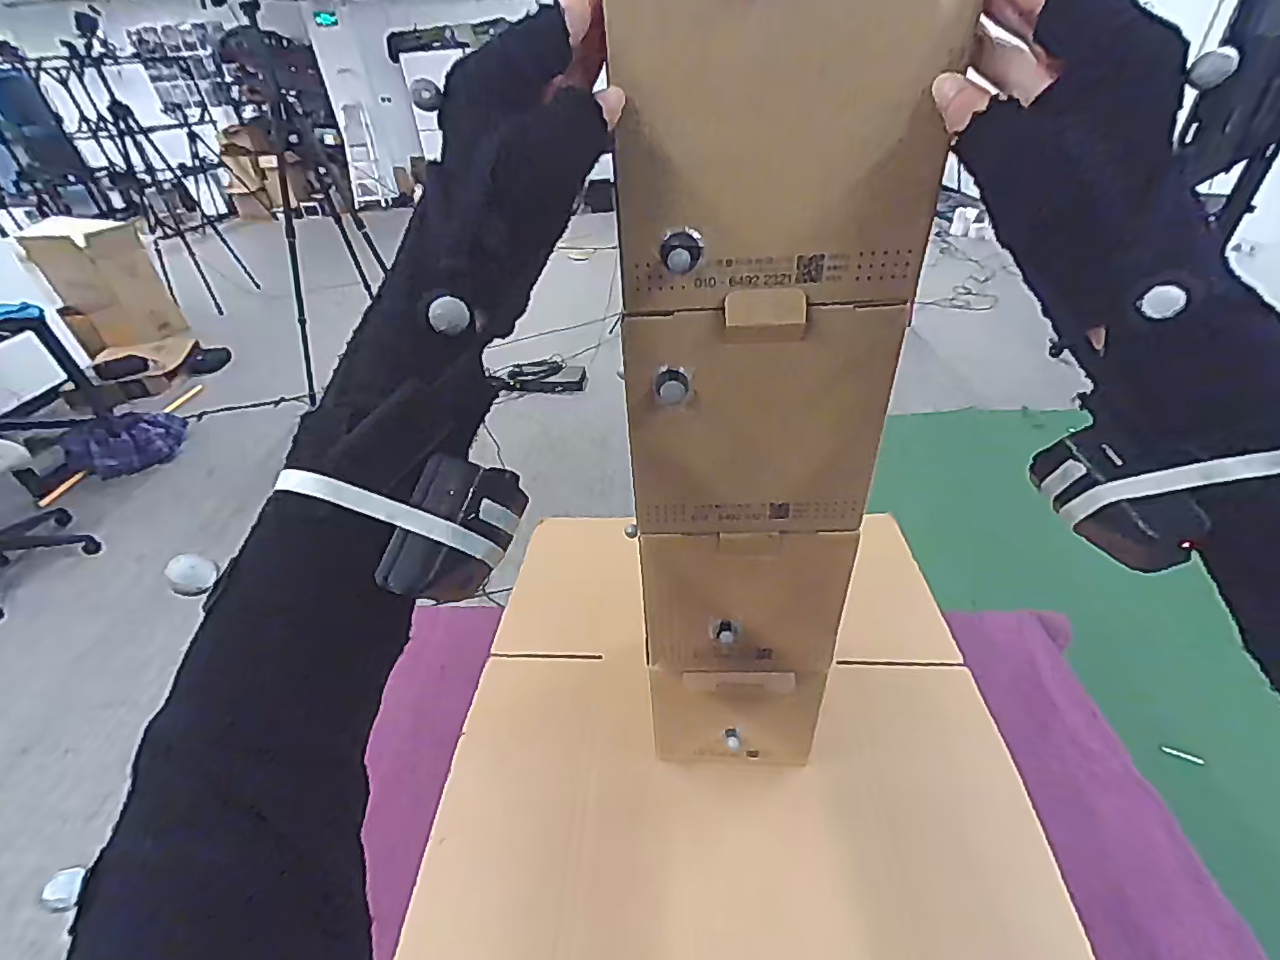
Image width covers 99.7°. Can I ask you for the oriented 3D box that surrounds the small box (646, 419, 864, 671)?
[{"bbox_3d":[0.091,0.055,0.516,0.168,0.176,0.179,-1,36,3],"label":"small box"}]

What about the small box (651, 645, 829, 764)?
[{"bbox_3d":[0.101,0.188,0.611,0.168,0.176,0.179,0,36,5],"label":"small box"}]

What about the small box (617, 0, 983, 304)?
[{"bbox_3d":[0.074,-0.213,0.327,0.168,0.176,0.179,-3,37,0],"label":"small box"}]
